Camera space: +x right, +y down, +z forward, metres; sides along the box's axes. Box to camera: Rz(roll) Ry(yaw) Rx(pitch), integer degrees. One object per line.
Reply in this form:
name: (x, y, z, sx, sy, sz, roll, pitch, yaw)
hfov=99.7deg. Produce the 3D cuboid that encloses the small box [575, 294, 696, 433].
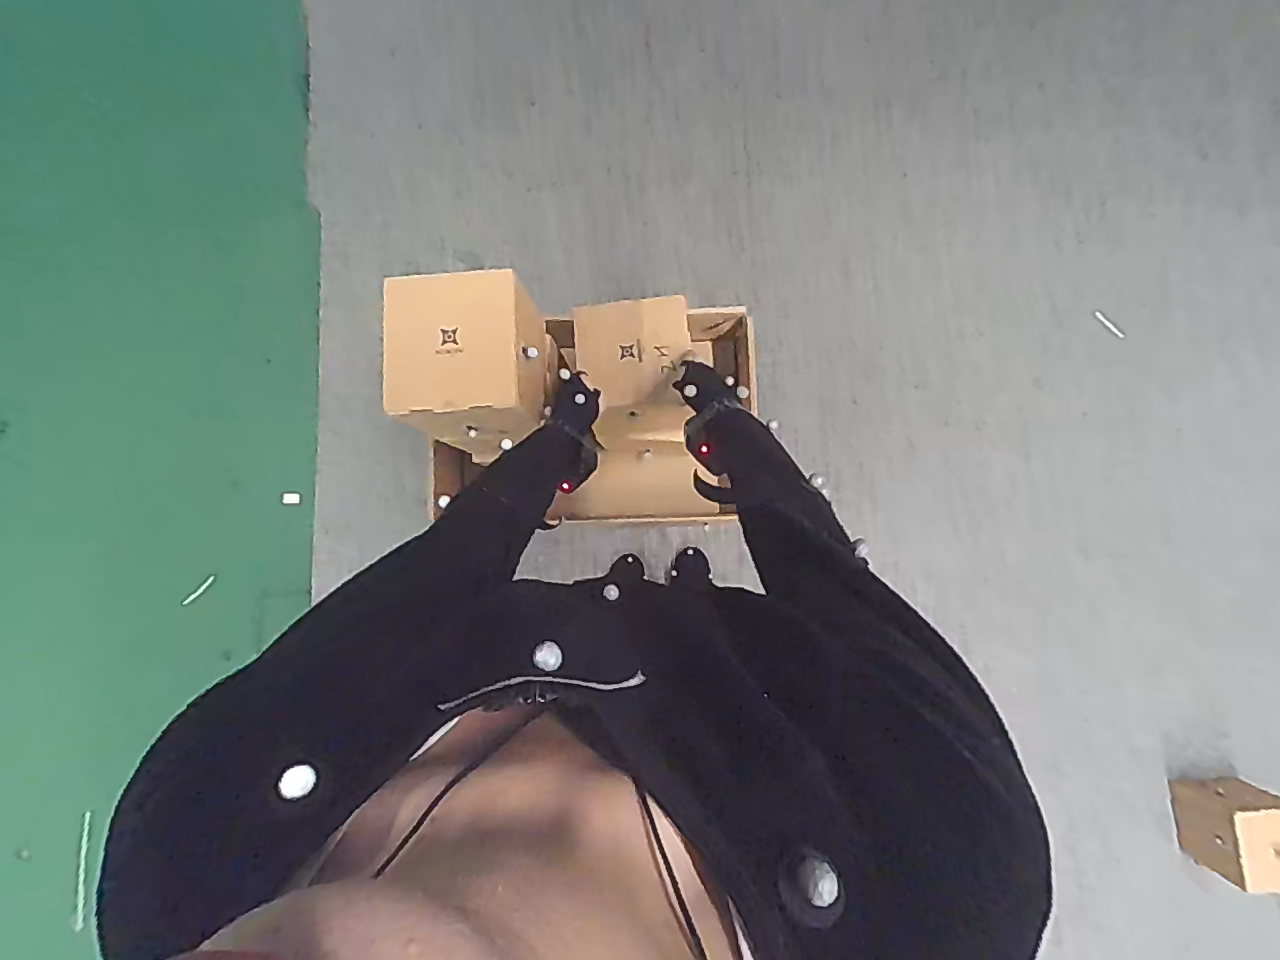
small box: (-0.001, -0.178, 0.877, 0.179, 0.176, 0.168, -5, 81, 4)

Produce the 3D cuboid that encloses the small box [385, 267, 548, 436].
small box: (-0.224, -0.164, 0.735, 0.168, 0.176, 0.179, -3, 84, 3)

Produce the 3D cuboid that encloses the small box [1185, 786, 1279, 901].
small box: (1.436, 0.836, 1.262, 0.168, 0.176, 0.179, -4, 84, 4)
